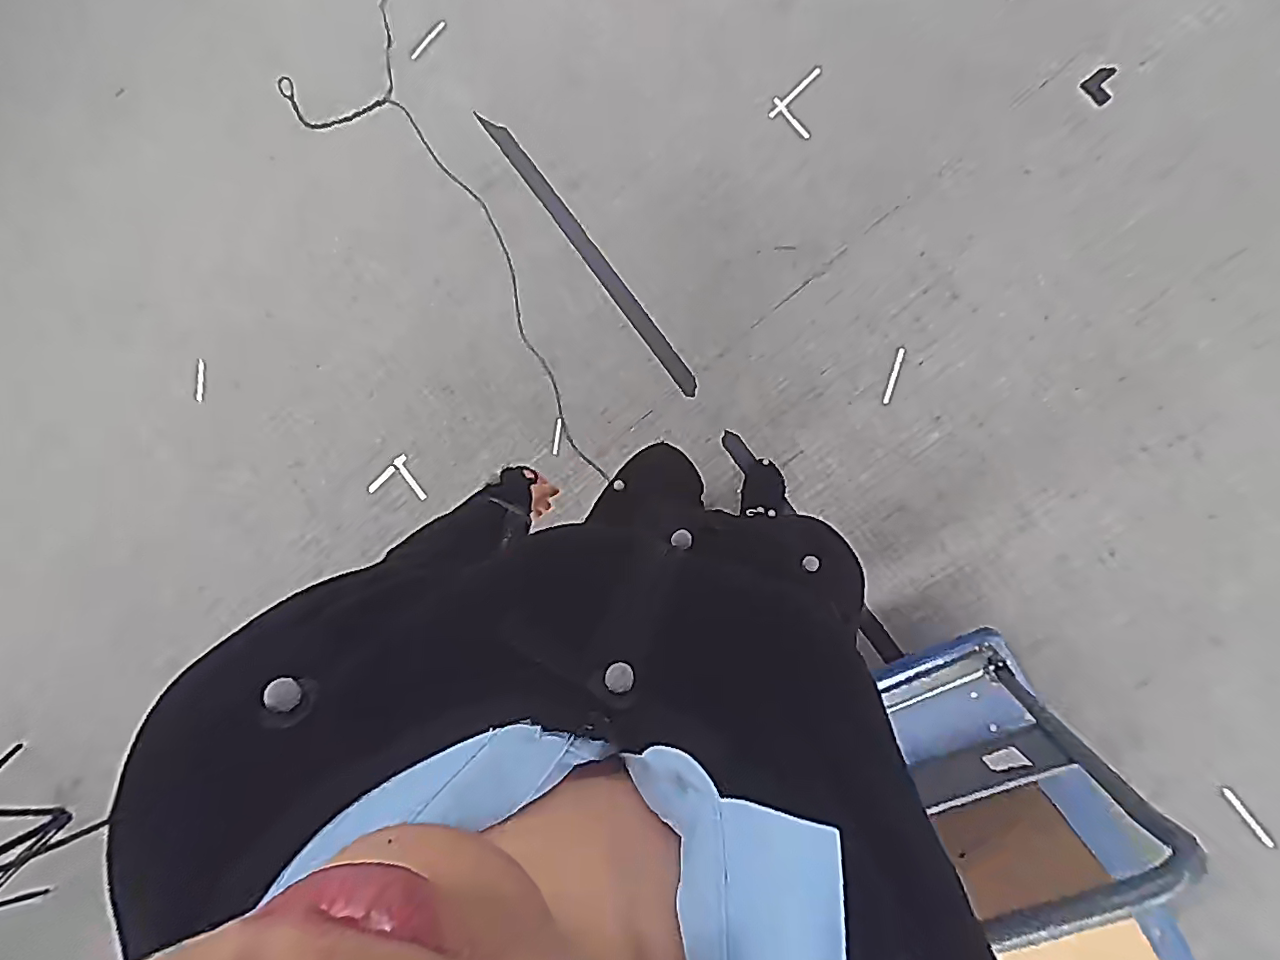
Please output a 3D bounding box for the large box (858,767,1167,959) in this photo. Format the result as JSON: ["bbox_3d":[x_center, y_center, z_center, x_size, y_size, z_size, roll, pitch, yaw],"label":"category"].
[{"bbox_3d":[0.712,0.853,1.068,0.408,0.320,0.320,-29,87,13],"label":"large box"}]
